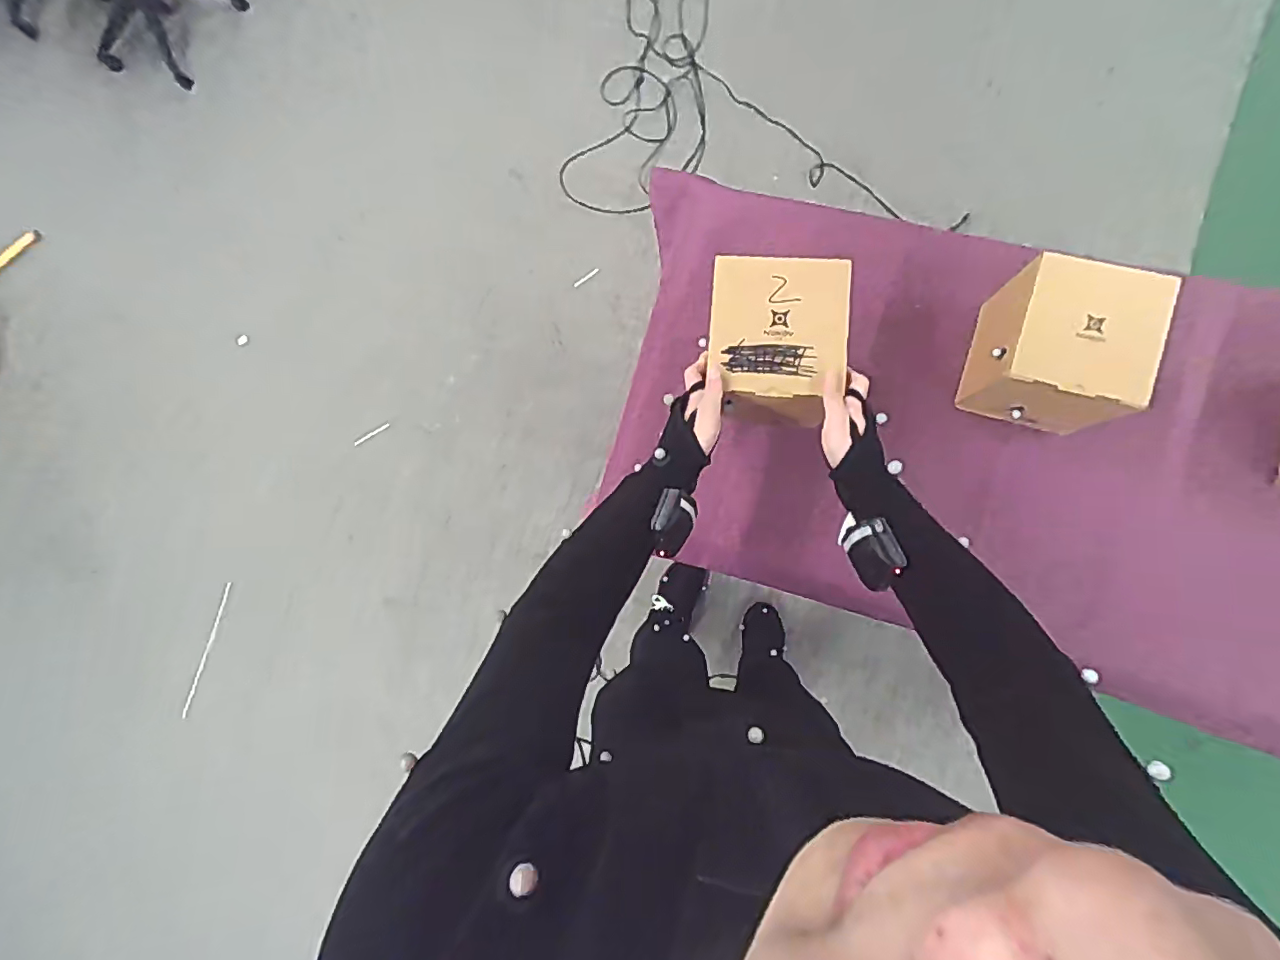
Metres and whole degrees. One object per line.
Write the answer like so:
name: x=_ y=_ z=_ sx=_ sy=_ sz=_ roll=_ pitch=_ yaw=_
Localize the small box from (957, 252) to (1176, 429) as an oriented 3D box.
small box: x=0.587 y=-0.187 z=0.770 sx=0.168 sy=0.176 sz=0.179 roll=17 pitch=88 yaw=9
